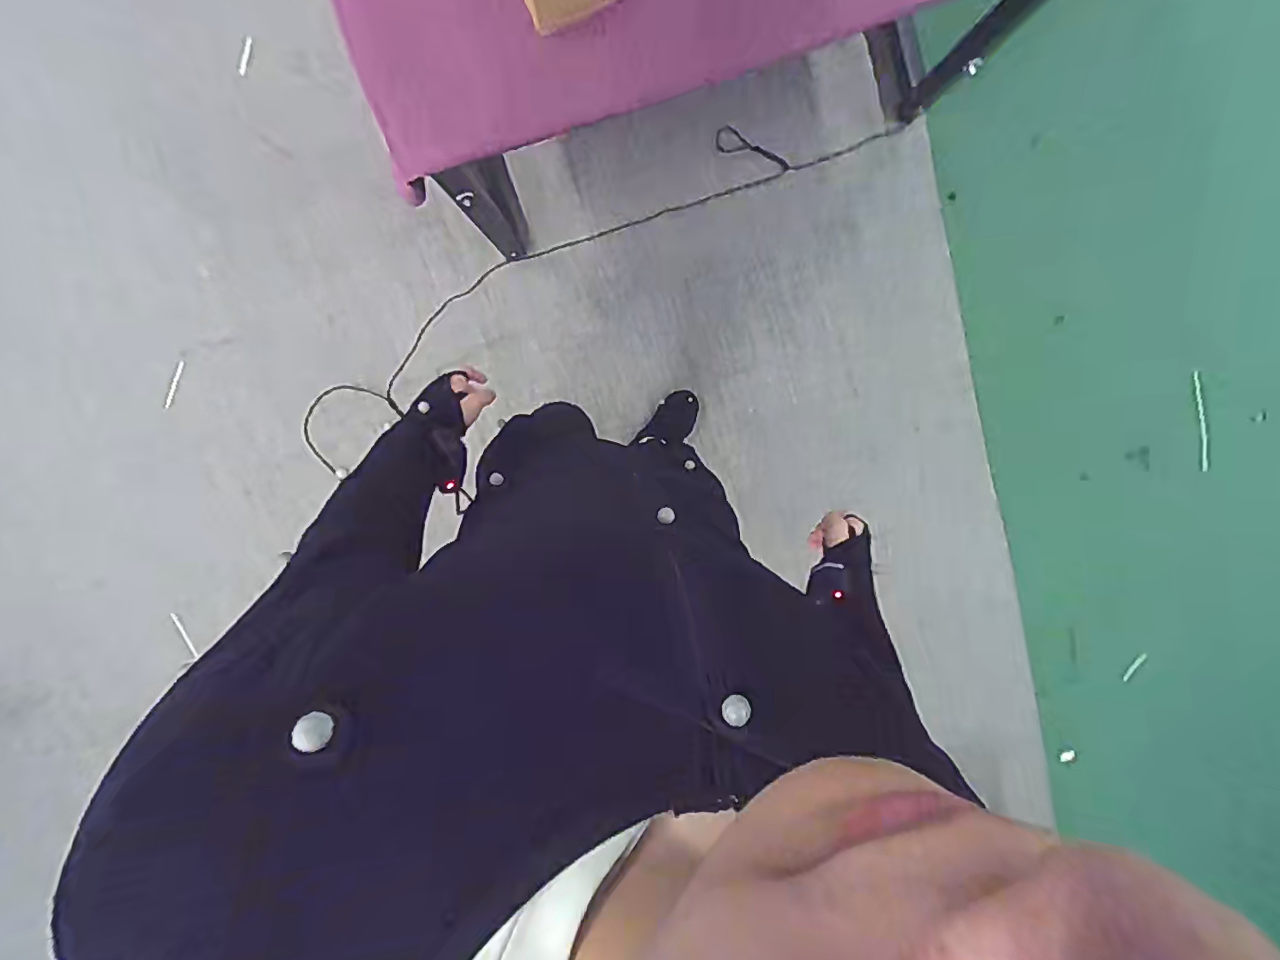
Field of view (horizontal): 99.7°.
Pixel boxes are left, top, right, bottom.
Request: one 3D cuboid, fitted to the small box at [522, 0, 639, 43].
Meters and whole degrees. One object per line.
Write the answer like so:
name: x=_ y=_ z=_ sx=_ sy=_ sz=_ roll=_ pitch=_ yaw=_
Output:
small box: x=-0.099 y=-0.712 z=0.673 sx=0.168 sy=0.176 sz=0.179 roll=-24 pitch=99 yaw=3
